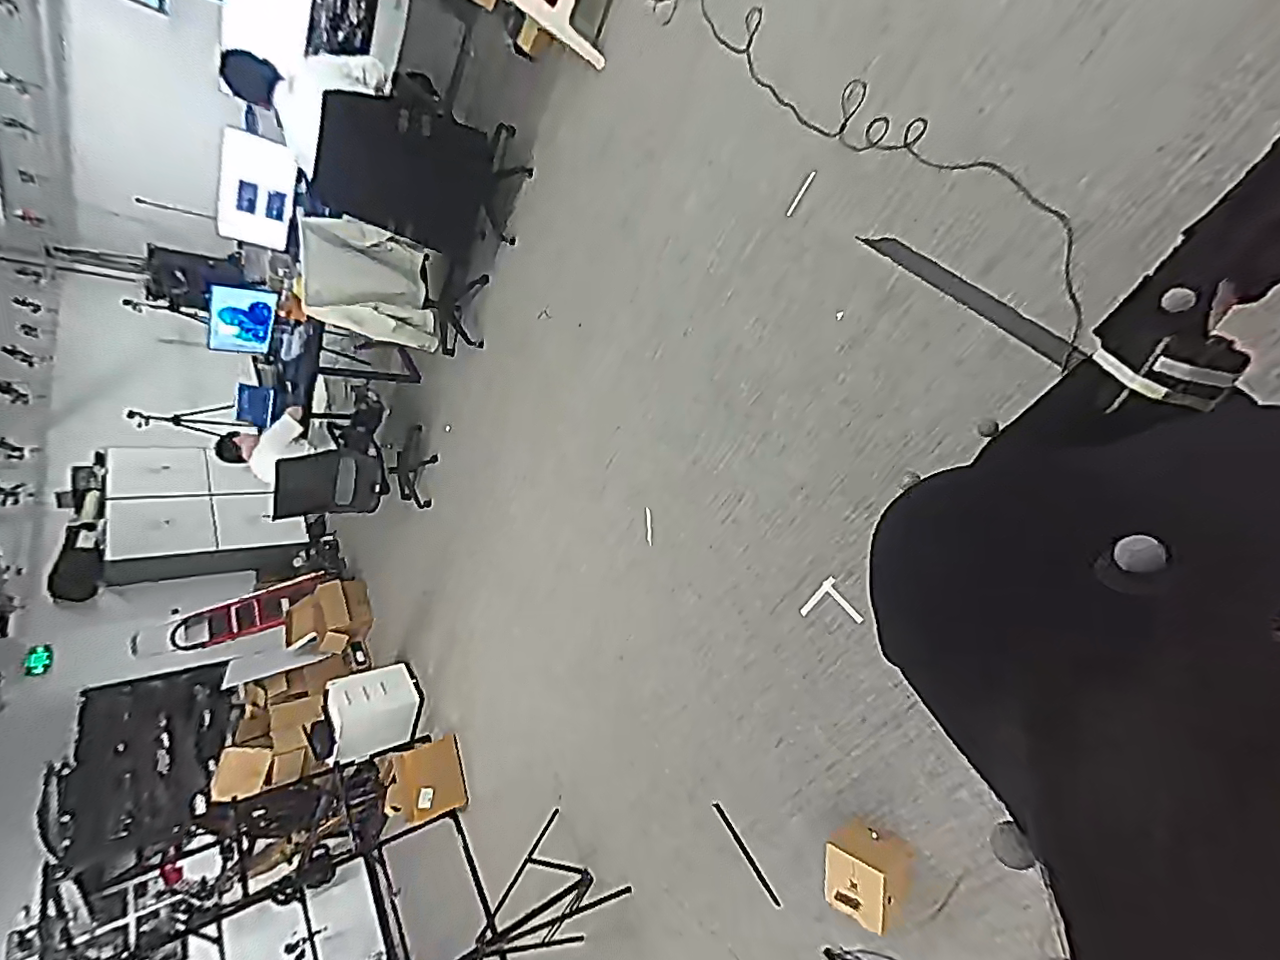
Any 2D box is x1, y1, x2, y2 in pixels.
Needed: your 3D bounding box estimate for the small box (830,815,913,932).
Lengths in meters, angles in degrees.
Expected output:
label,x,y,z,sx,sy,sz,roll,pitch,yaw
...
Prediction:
label,x,y,z,sx,sy,sz,roll,pitch,yaw
small box,0.660,1.107,1.537,0.168,0.176,0.179,4,94,47
